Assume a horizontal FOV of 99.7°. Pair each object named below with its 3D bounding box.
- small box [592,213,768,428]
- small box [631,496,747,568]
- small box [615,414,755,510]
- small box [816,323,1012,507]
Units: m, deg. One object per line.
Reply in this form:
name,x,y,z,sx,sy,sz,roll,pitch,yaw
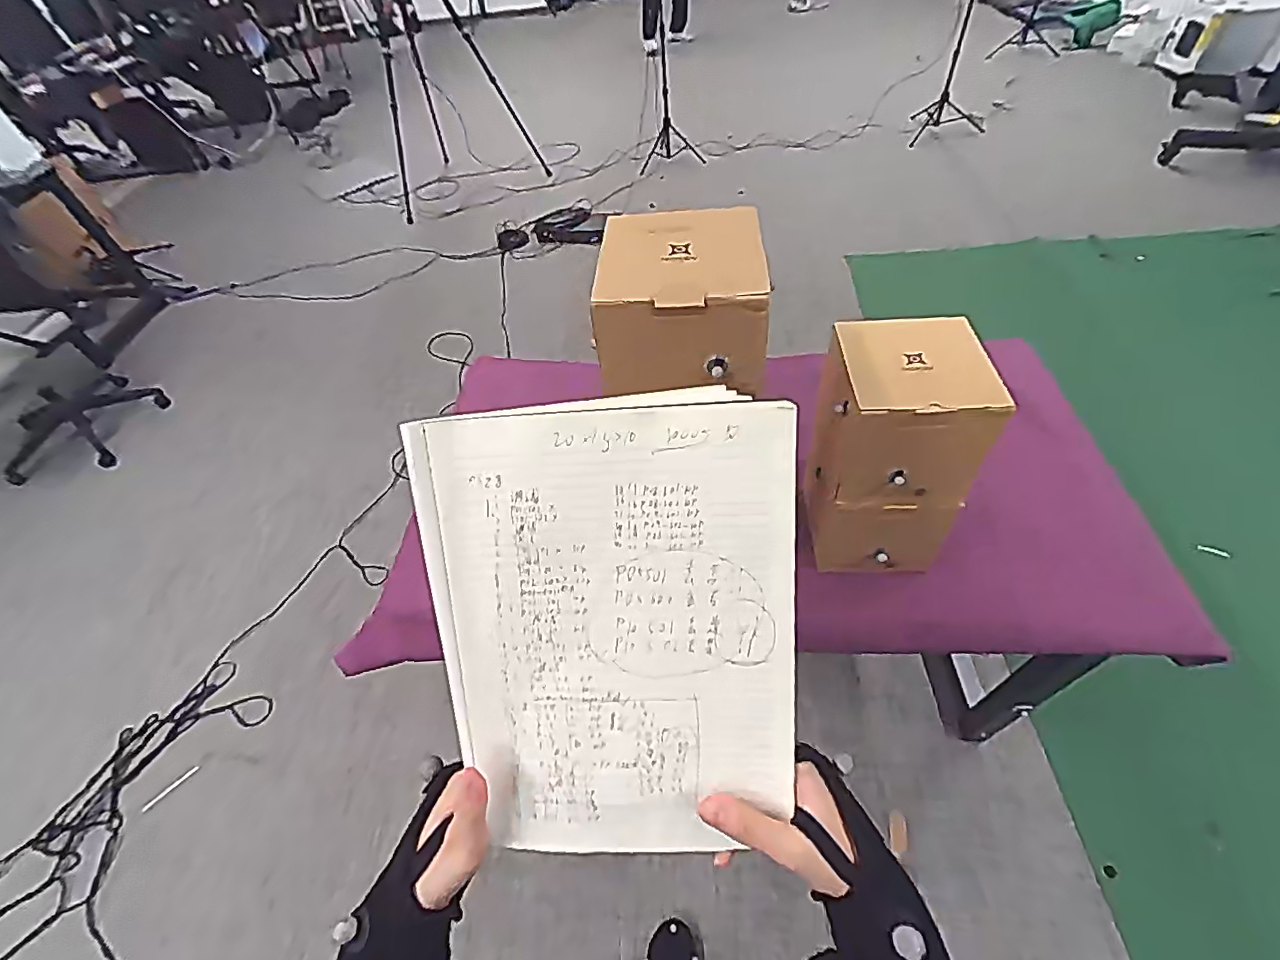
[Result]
small box,0.050,-0.172,0.606,0.168,0.176,0.179,0,50,6
small box,0.081,0.028,0.864,0.168,0.176,0.179,-1,51,6
small box,0.065,-0.072,0.734,0.168,0.176,0.179,-1,49,6
small box,0.337,-0.085,0.711,0.168,0.176,0.179,-1,50,6
